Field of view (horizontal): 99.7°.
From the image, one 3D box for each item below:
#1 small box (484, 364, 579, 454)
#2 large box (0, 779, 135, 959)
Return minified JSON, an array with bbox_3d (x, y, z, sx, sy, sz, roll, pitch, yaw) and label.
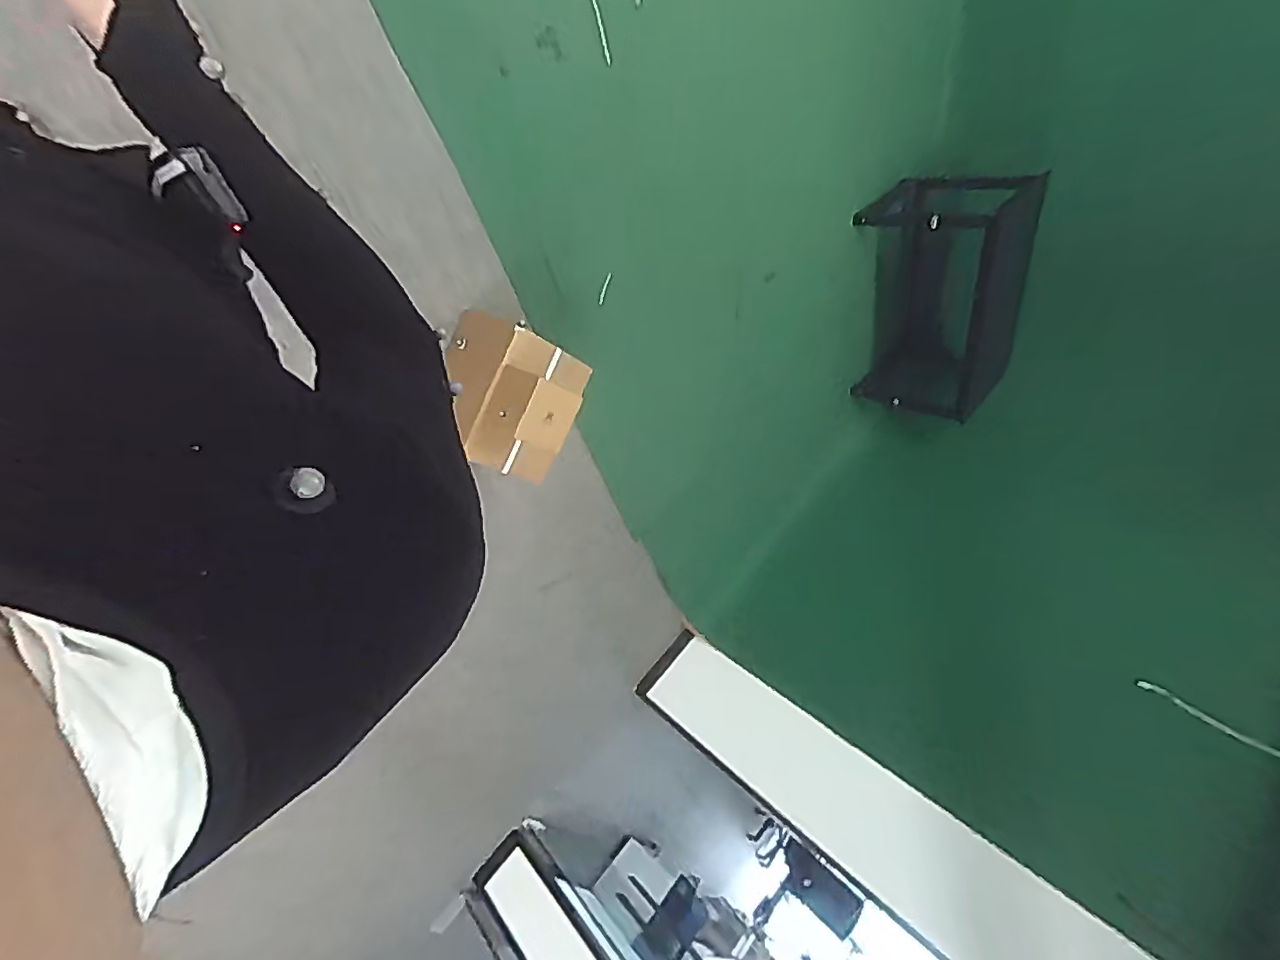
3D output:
[{"bbox_3d":[-0.306,-0.199,1.497,0.168,0.176,0.179,23,94,-50],"label":"small box"},{"bbox_3d":[-1.514,1.022,1.276,0.408,0.320,0.320,-15,123,-43],"label":"large box"}]
